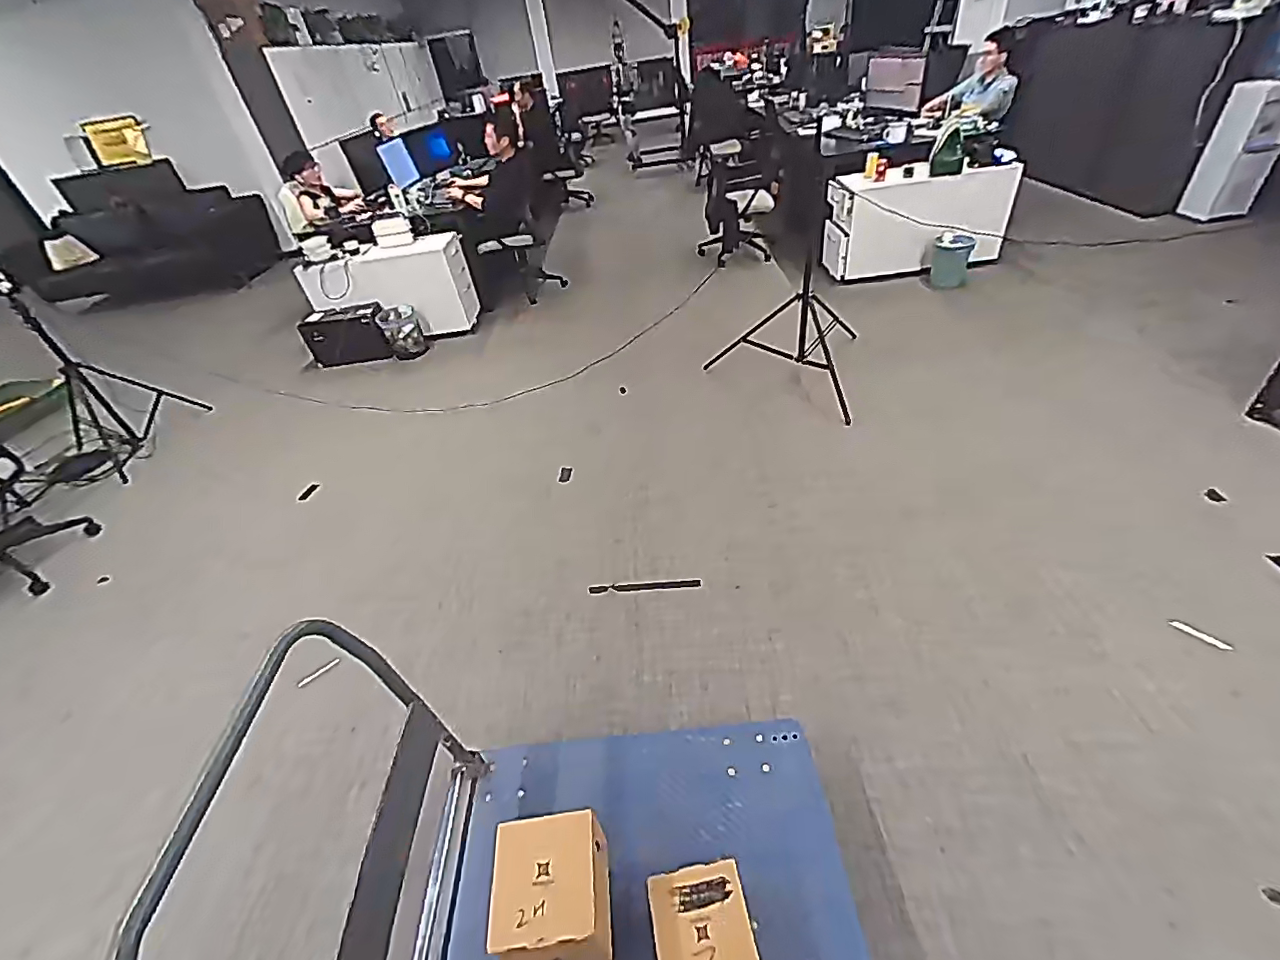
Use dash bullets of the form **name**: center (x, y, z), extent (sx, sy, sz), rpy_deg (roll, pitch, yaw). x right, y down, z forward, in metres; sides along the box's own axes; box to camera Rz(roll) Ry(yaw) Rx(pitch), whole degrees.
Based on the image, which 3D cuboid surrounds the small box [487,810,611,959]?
- **small box**: center (-0.145, 0.694, 0.912), extent (0.168, 0.176, 0.179), rpy_deg (-9, 40, 0)
